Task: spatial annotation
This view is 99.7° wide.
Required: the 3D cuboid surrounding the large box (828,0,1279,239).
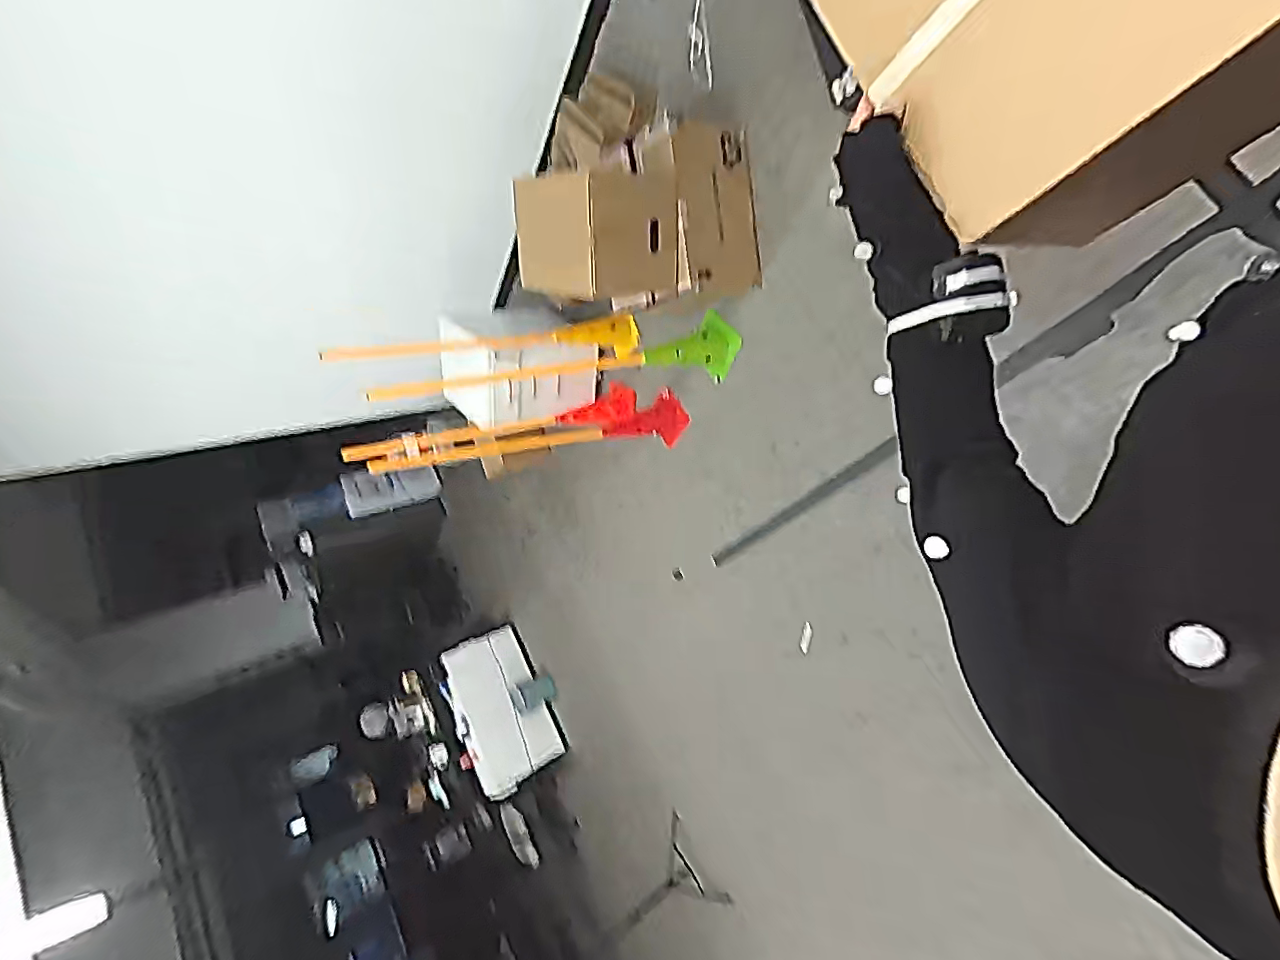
[{"bbox_3d":[0.424,-0.449,0.405,0.408,0.320,0.320,-36,75,53],"label":"large box"}]
